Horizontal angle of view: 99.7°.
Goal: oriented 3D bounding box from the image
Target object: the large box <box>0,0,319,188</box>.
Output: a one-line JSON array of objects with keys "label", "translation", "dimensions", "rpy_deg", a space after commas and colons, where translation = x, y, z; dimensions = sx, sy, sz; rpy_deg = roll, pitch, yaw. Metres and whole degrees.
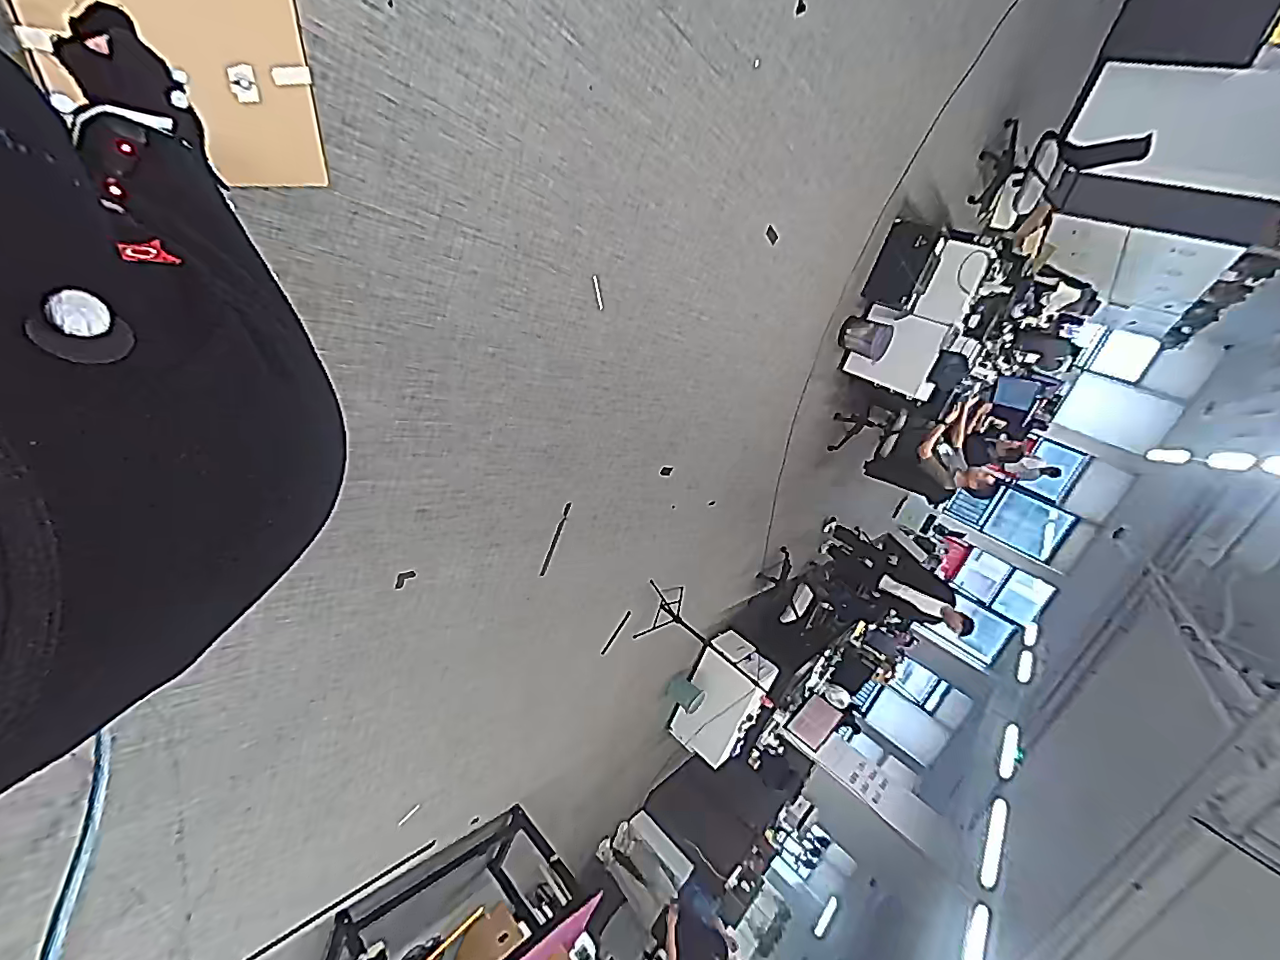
[{"label": "large box", "translation": [-0.766, -0.658, 0.854], "dimensions": [0.320, 0.408, 0.320], "rpy_deg": [-24, 133, -38]}]
